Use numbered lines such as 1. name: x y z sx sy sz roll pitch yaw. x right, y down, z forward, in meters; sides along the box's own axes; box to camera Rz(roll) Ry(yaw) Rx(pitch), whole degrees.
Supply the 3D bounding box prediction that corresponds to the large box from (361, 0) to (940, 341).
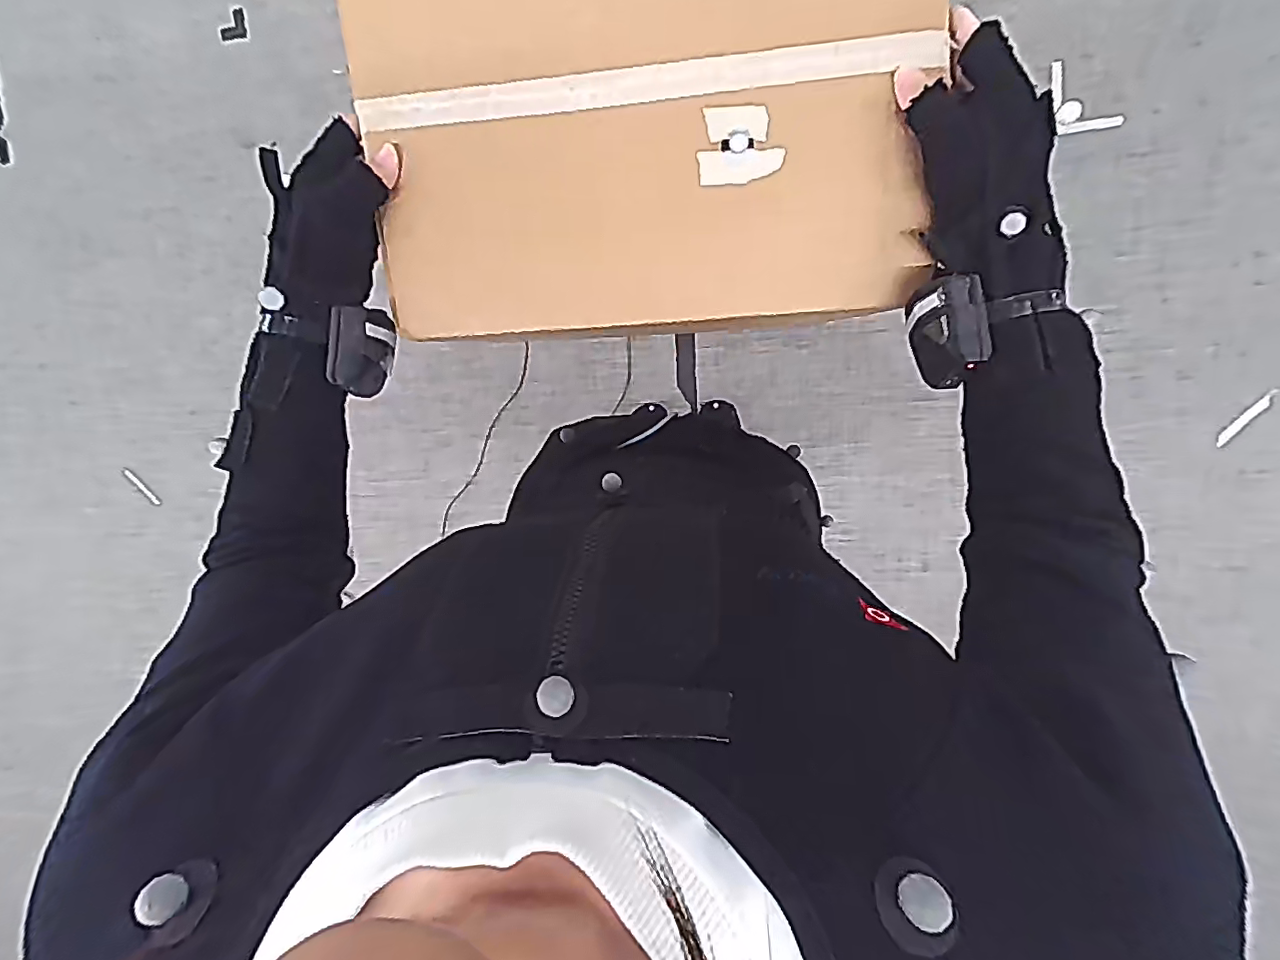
1. large box: 0.014 -0.313 0.528 0.408 0.320 0.320 -3 104 5
